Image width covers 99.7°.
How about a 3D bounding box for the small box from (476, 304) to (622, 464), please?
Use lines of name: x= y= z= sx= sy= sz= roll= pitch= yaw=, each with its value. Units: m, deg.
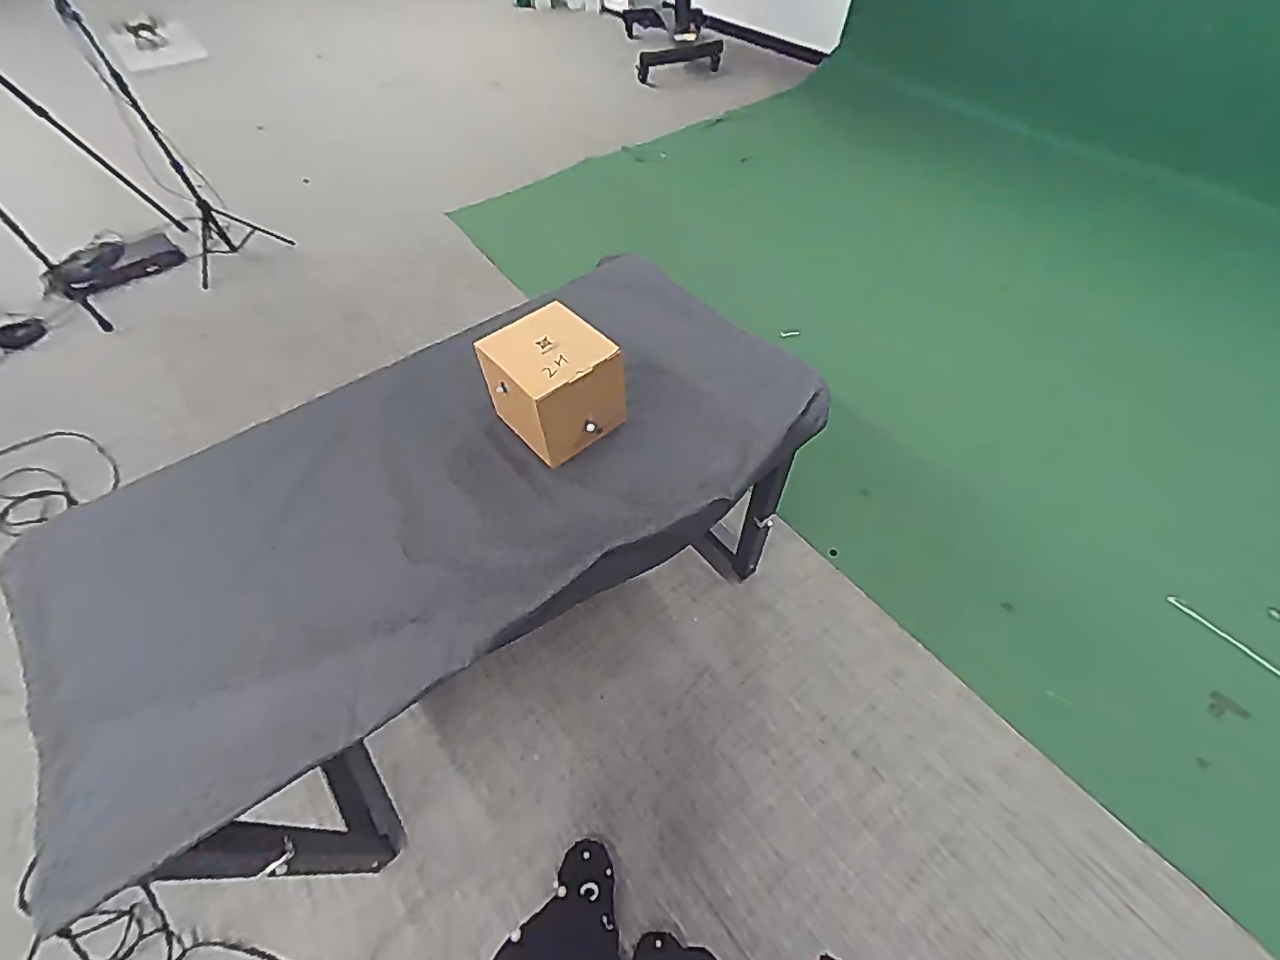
small box: x=-0.146 y=-0.160 z=0.916 sx=0.168 sy=0.176 sz=0.179 roll=-36 pitch=61 yaw=-22
